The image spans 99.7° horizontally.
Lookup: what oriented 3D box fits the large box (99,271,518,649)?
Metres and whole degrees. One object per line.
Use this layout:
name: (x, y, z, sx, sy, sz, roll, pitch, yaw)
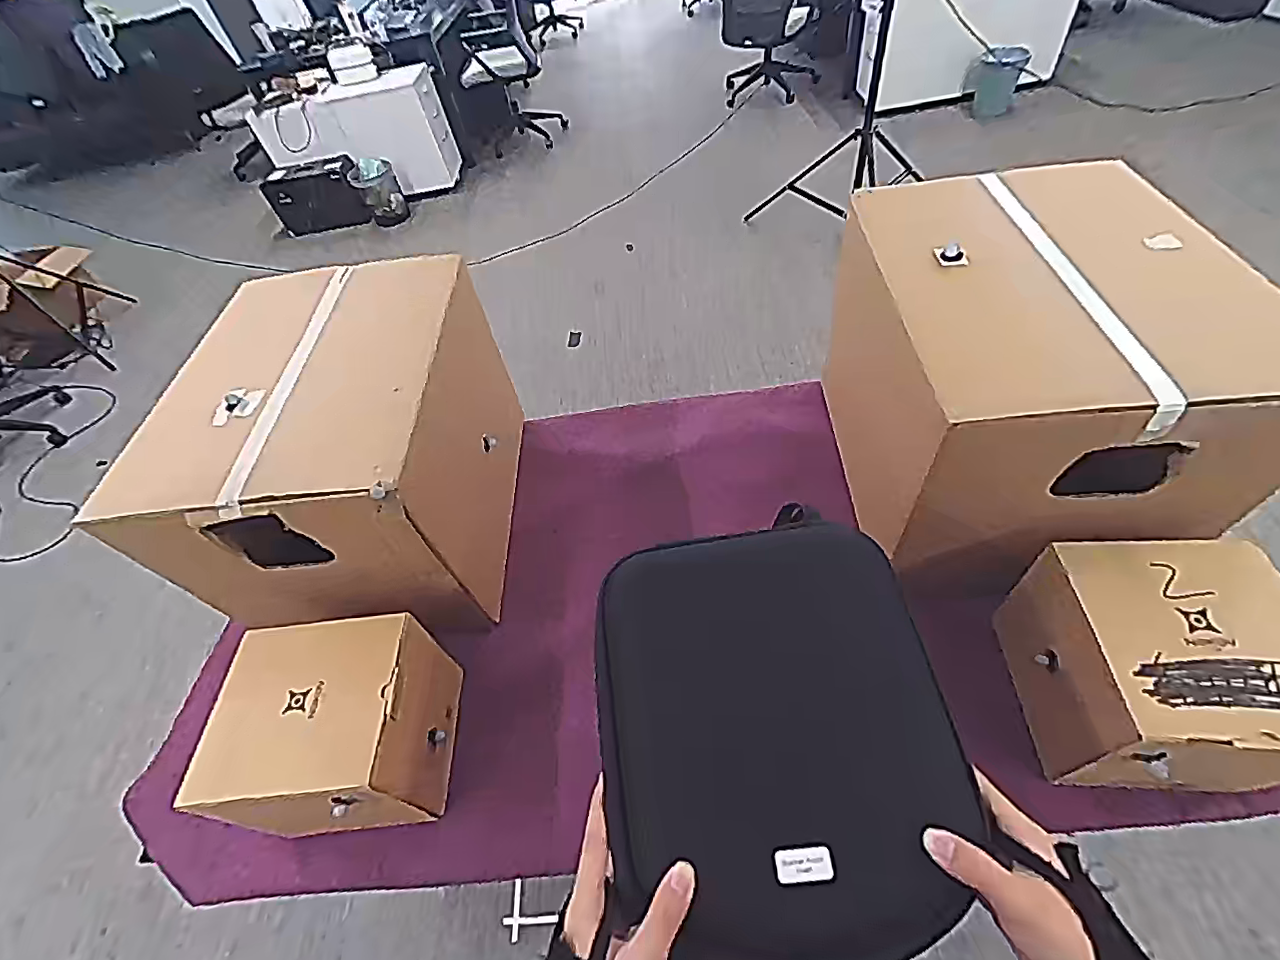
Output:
large box: (-0.367, -0.025, 0.745, 0.320, 0.320, 0.408, -7, 53, 3)
